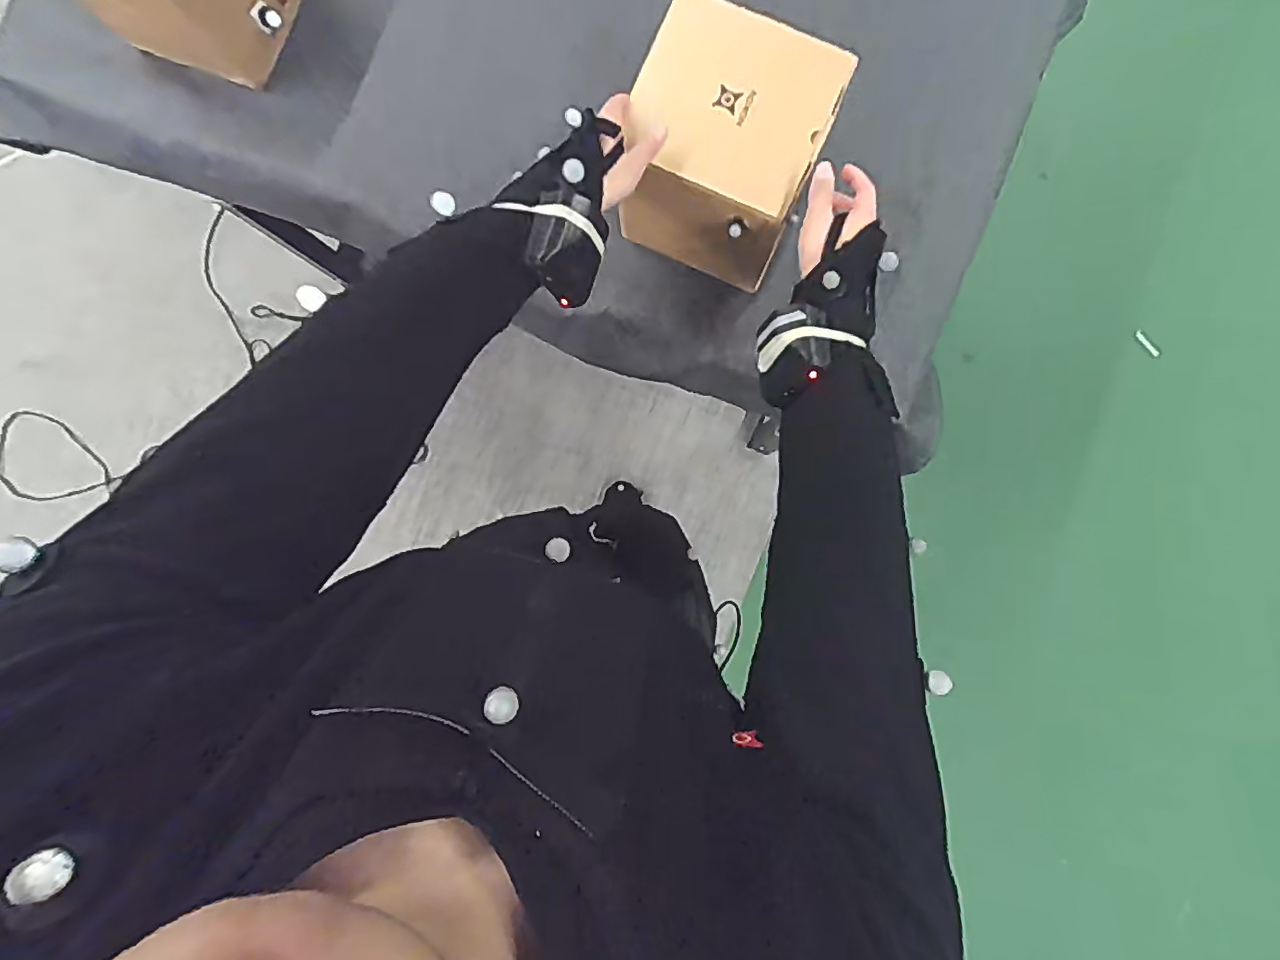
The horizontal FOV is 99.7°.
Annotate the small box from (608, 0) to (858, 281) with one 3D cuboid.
[{"bbox_3d":[0.084,-0.335,0.559,0.179,0.176,0.168,24,89,2],"label":"small box"}]

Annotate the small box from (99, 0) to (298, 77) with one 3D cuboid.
[{"bbox_3d":[-0.508,-0.585,0.577,0.179,0.176,0.168,21,91,0],"label":"small box"}]
